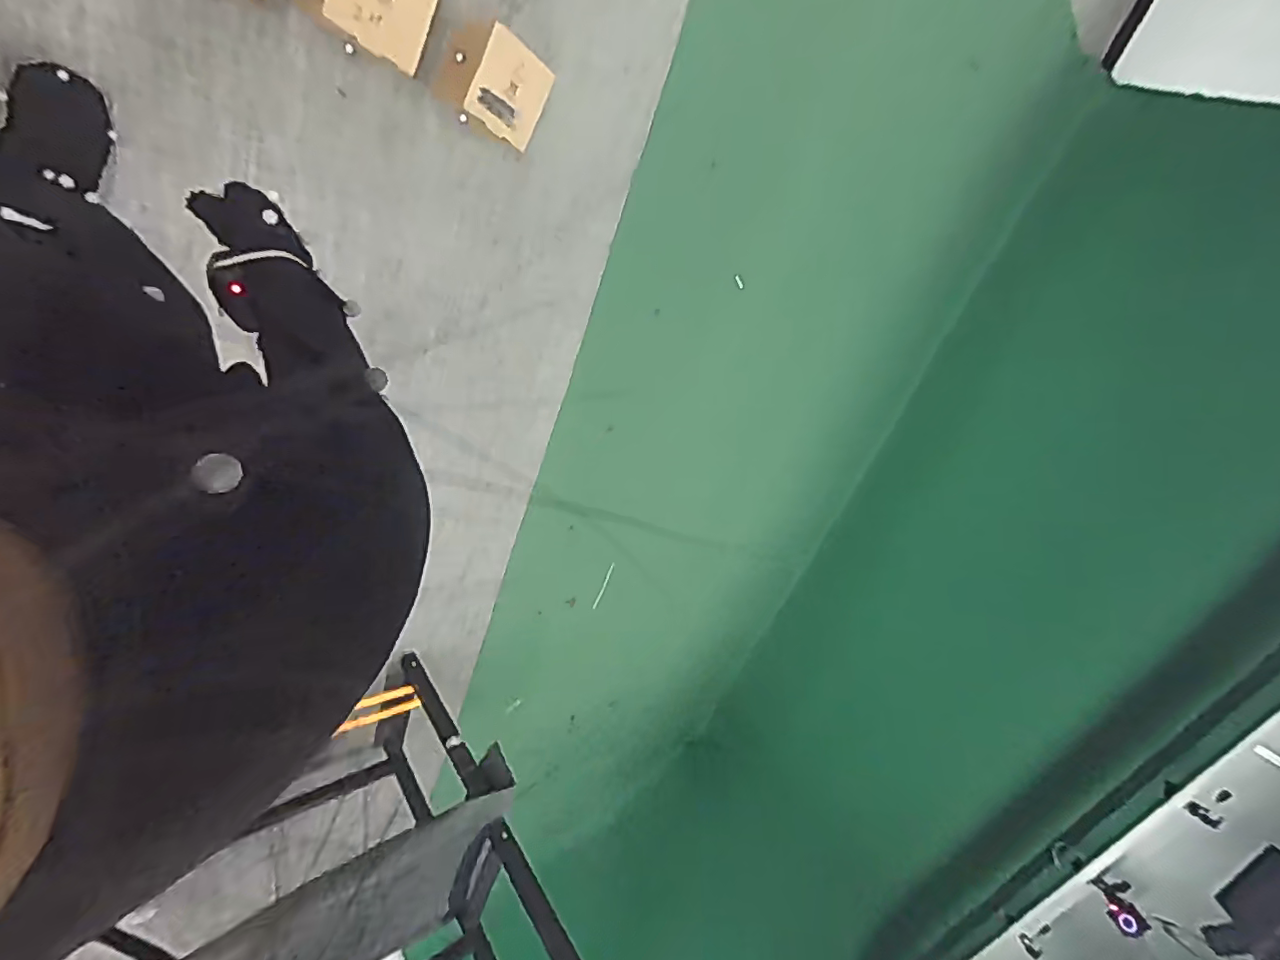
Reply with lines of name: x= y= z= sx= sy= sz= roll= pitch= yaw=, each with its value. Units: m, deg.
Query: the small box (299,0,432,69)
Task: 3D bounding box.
small box: x=-0.498 y=-0.900 z=0.983 sx=0.168 sy=0.176 sz=0.179 roll=7 pitch=118 yaw=-50
